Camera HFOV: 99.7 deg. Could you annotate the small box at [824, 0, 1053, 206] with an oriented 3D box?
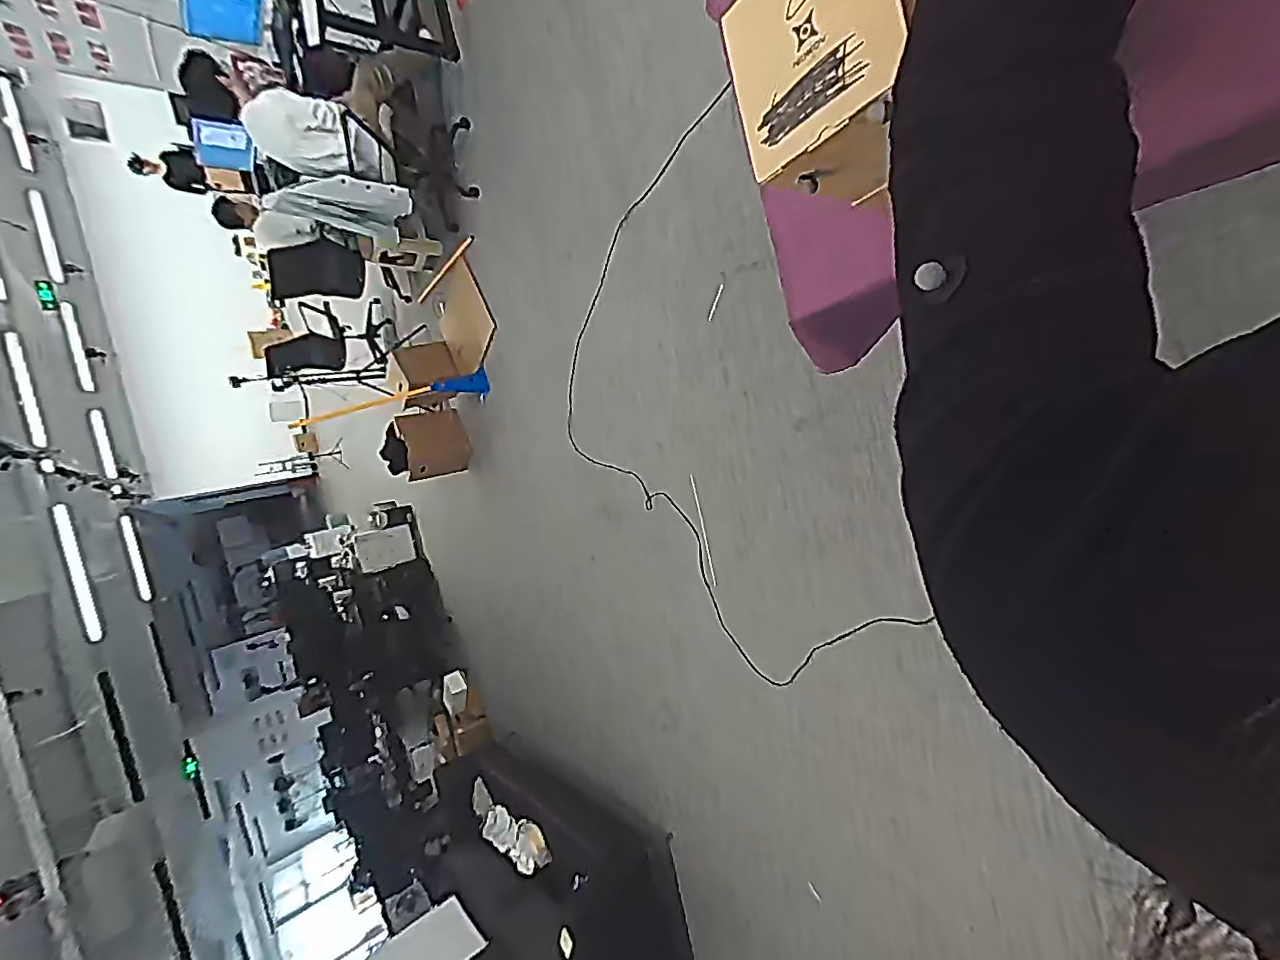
[{"bbox_3d":[0.347,-0.447,0.631,0.168,0.176,0.179,-10,95,54],"label":"small box"}]
